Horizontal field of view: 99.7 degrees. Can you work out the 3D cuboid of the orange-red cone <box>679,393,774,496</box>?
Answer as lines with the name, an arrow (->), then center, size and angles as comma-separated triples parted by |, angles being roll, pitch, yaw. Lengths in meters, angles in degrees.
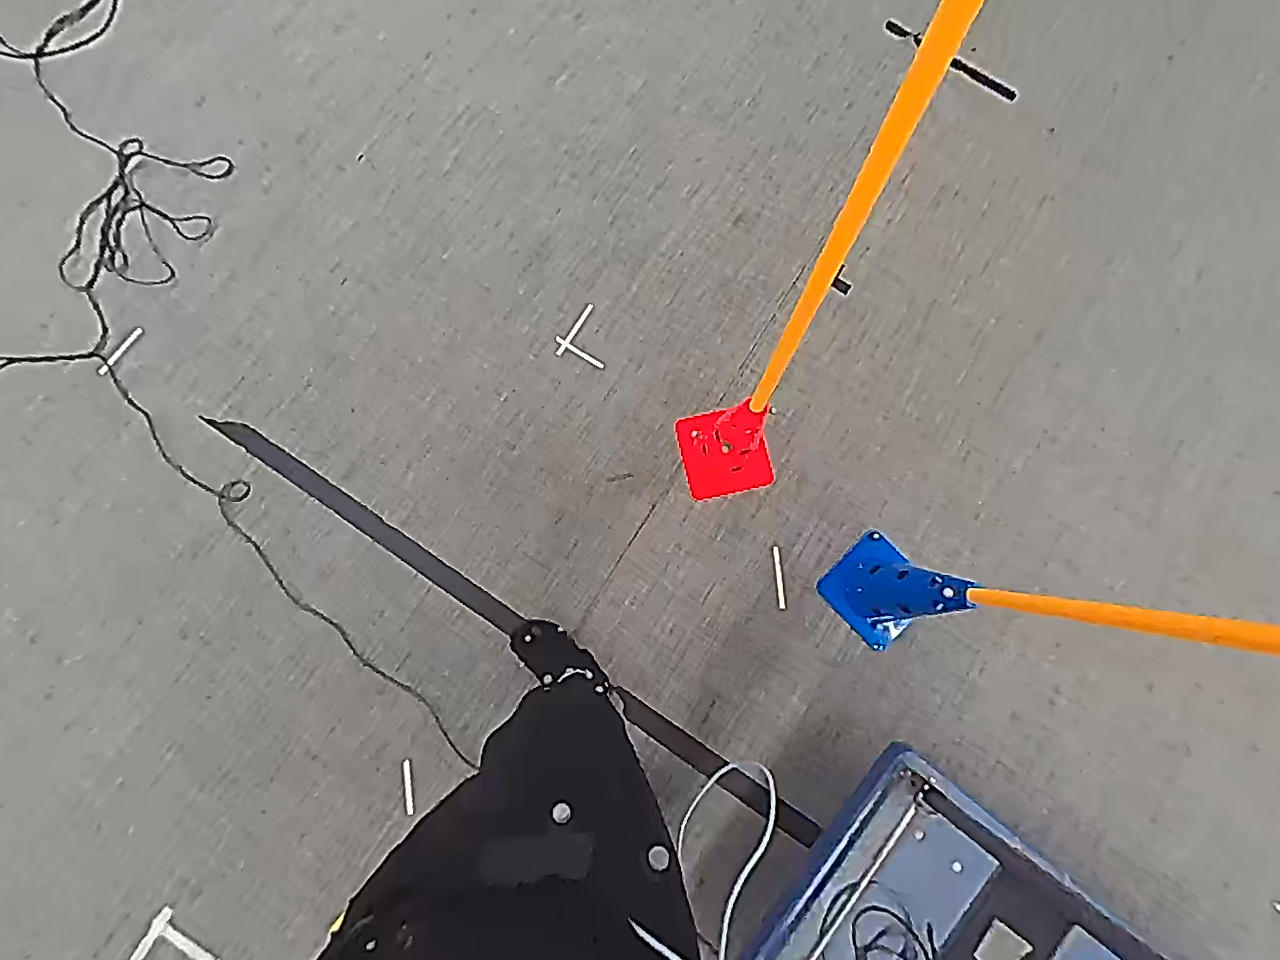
orange-red cone -> 0.198, -0.099, 1.073 | 0.198, 0.360, 0.199 | -11, 81, -2

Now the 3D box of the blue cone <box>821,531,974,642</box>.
blue cone -> 0.519, 0.205, 1.033 | 0.193, 0.380, 0.192 | -41, 82, -7
